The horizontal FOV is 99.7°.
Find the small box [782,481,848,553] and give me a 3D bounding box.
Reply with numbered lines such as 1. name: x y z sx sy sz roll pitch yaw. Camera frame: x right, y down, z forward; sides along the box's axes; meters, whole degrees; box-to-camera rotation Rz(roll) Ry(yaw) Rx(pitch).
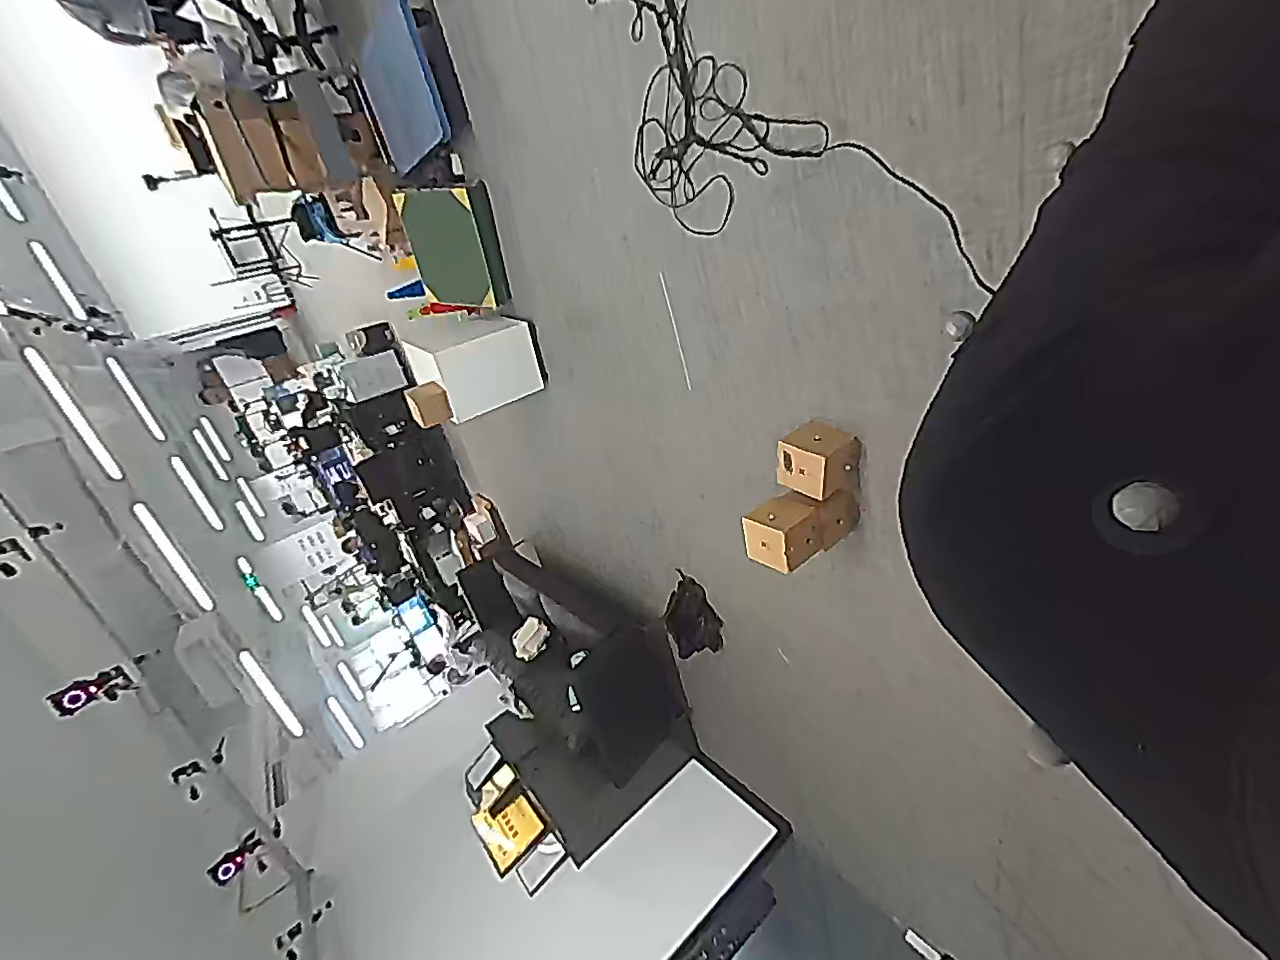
1. small box: 0.600 0.119 1.859 0.179 0.176 0.168 19 131 49

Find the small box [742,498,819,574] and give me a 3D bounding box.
1. small box: 0.464 0.176 1.786 0.179 0.176 0.168 20 131 49
